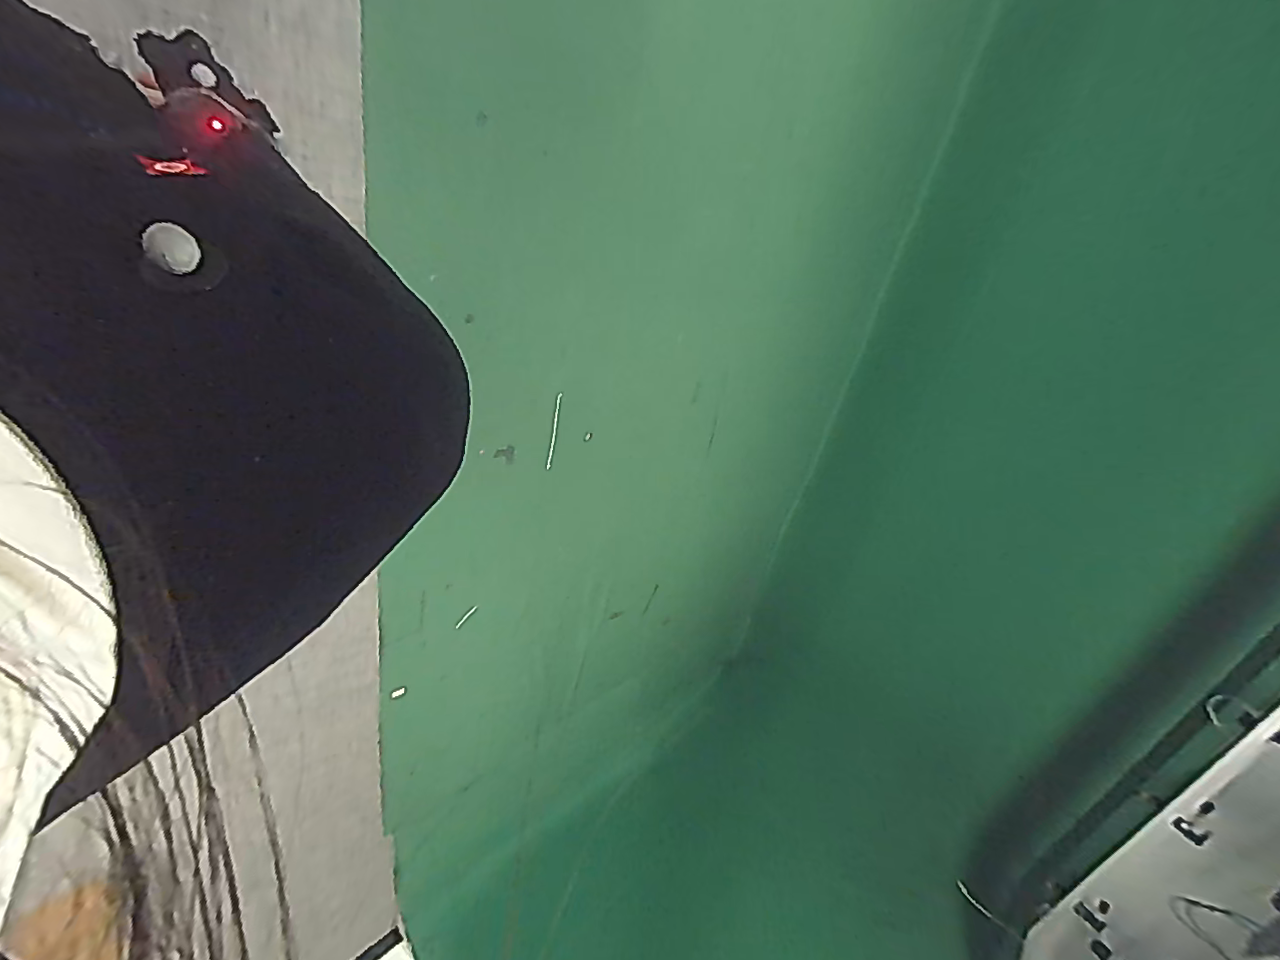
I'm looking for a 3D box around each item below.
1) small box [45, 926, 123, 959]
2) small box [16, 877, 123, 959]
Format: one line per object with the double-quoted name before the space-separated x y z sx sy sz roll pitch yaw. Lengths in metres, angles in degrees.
"small box" -1.483 1.345 1.419 0.179 0.176 0.168 -15 129 -44
"small box" -1.598 1.279 1.514 0.179 0.176 0.168 -19 131 -45
